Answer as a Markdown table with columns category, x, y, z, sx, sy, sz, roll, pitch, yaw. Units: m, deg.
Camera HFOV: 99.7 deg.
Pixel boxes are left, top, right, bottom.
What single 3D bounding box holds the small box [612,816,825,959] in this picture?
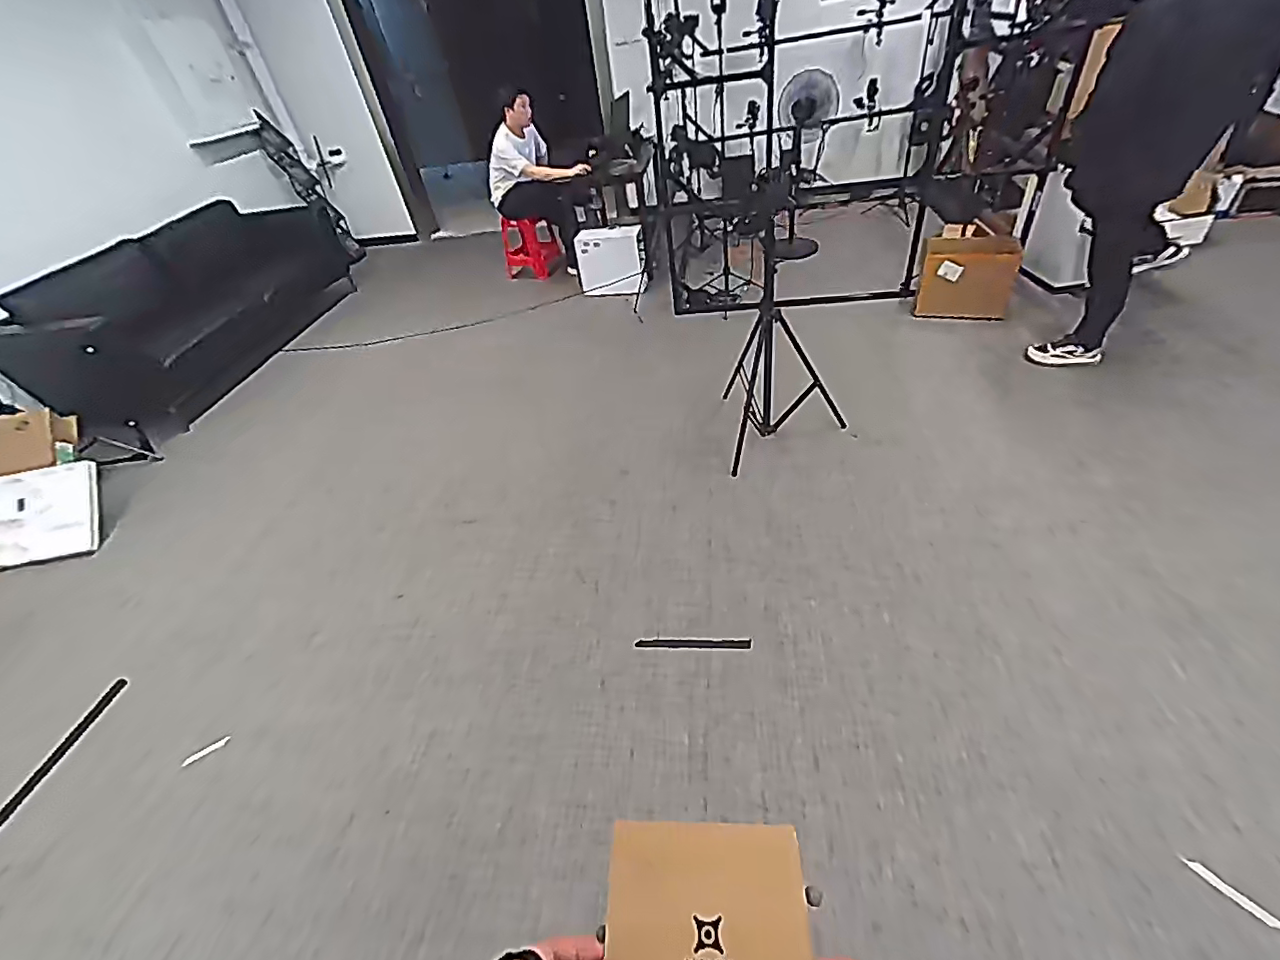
| category | x | y | z | sx | sy | sz | roll | pitch | yaw |
| --- | --- | --- | --- | --- | --- | --- | --- | --- | --- |
| small box | 0.069 | 0.419 | 0.475 | 0.168 | 0.176 | 0.179 | -4 | 44 | 7 |
